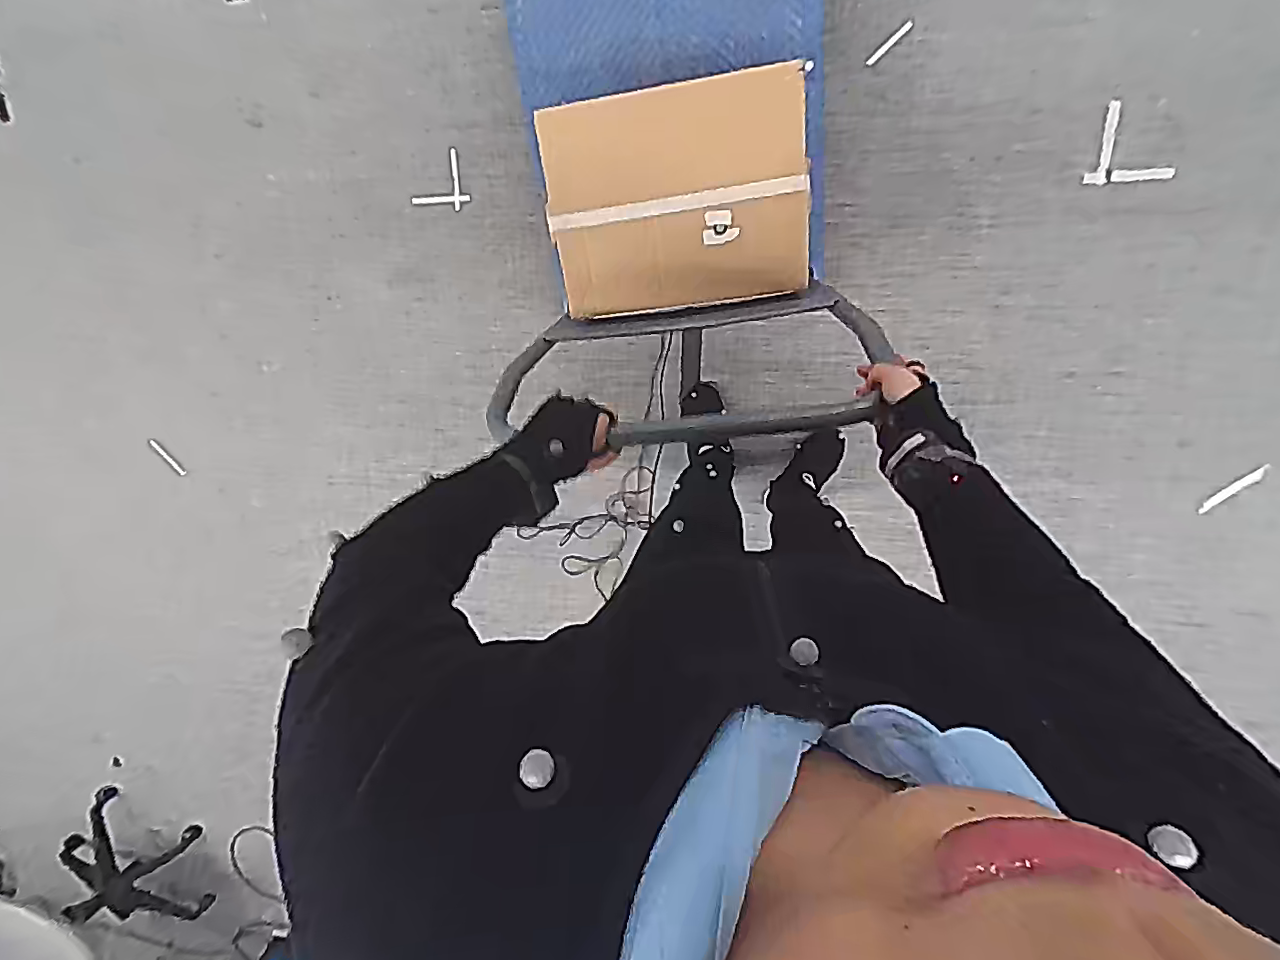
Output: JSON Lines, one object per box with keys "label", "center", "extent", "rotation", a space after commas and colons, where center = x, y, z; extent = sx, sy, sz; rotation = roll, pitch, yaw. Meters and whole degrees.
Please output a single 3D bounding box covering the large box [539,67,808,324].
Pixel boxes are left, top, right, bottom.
{"label": "large box", "center": [0.072, -0.495, 0.998], "extent": [0.408, 0.320, 0.320], "rotation": [-6, 115, 8]}
